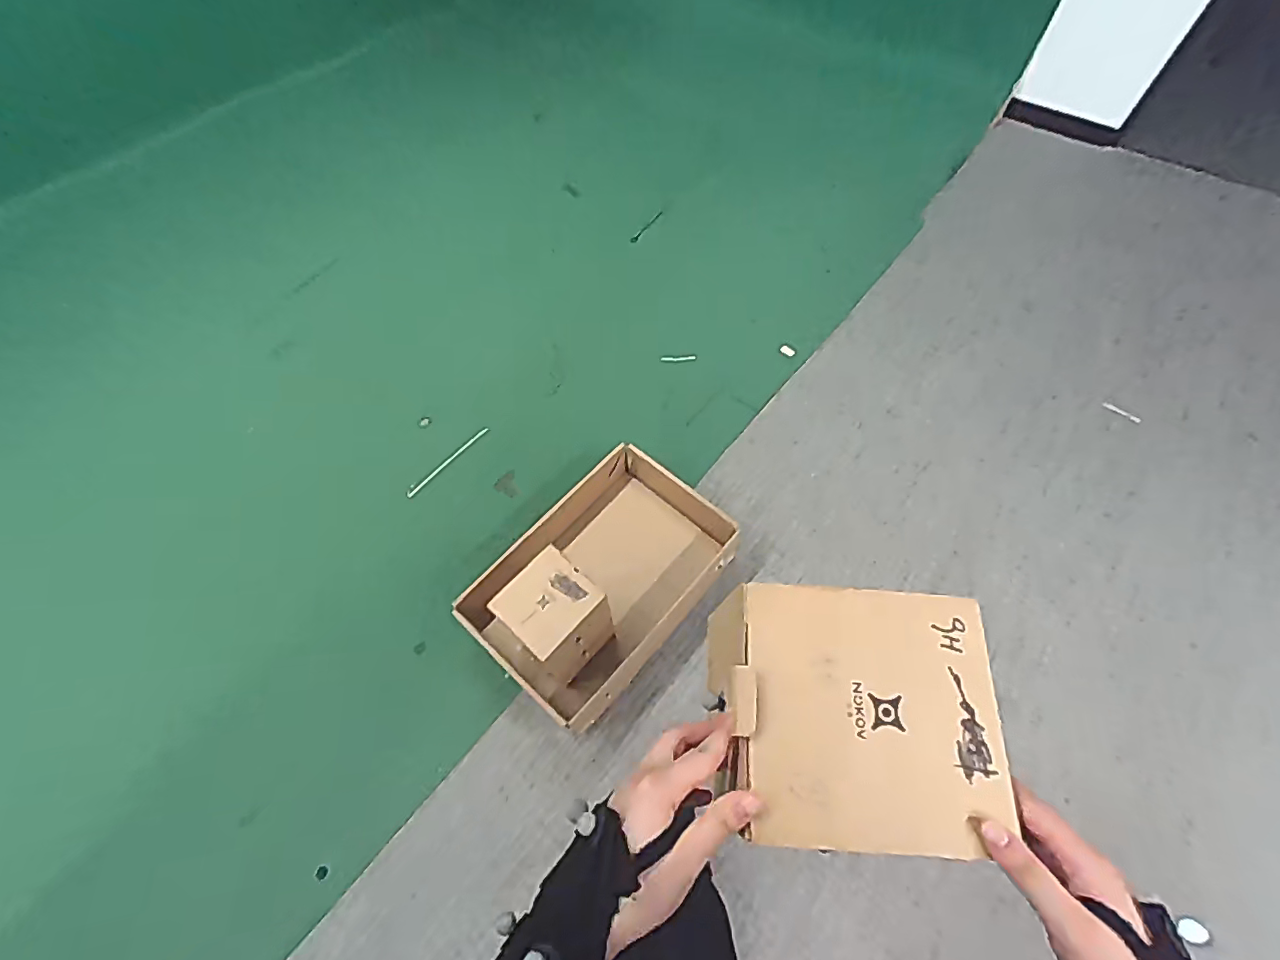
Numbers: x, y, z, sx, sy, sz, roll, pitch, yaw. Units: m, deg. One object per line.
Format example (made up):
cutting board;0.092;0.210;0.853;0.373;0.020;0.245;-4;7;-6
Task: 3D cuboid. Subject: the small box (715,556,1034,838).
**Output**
small box;0.159;0.170;0.435;0.179;0.176;0.168;6;66;-1

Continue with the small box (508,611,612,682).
small box;-0.178;0.347;1.269;0.168;0.176;0.179;38;67;19

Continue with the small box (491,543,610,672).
small box;-0.177;0.268;1.124;0.168;0.176;0.179;38;68;20
